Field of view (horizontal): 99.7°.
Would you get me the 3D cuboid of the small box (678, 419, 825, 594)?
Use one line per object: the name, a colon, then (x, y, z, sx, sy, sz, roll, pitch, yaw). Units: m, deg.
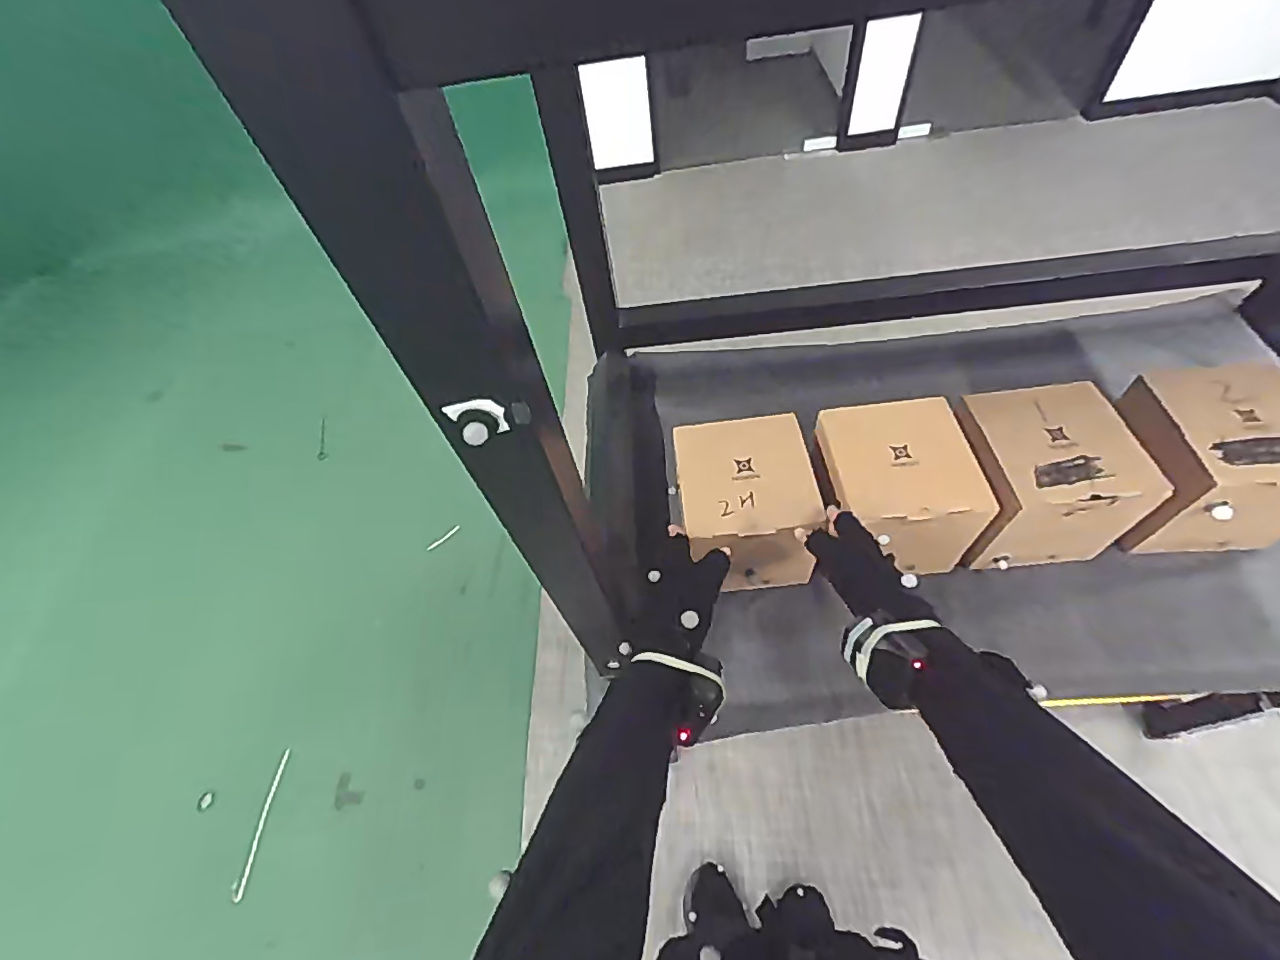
small box: (0.144, 0.041, 0.759, 0.168, 0.176, 0.179, -7, 54, 4)
